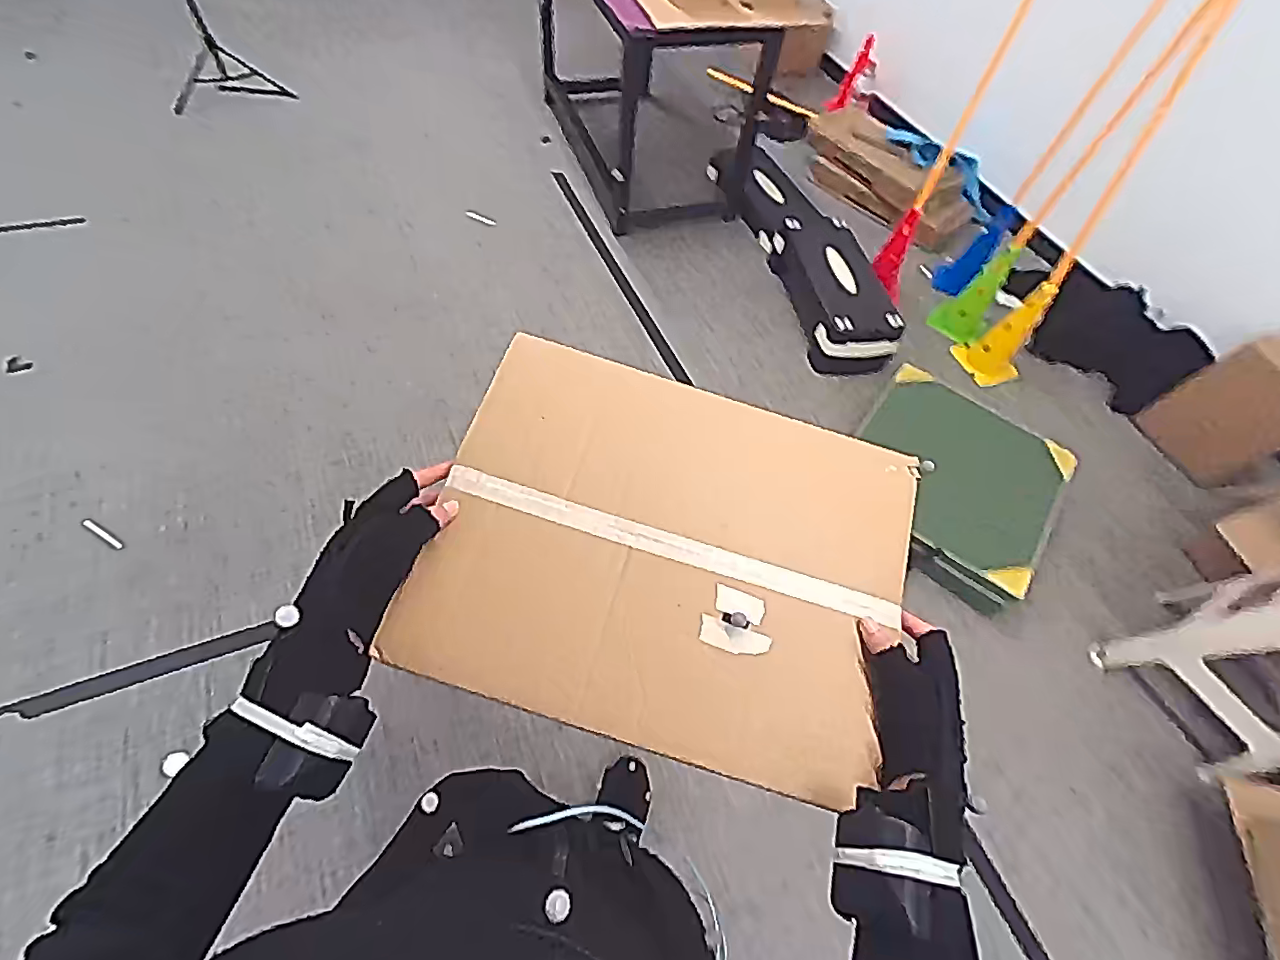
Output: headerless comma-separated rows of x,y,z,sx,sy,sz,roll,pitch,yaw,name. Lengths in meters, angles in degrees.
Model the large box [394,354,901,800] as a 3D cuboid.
0.013,0.115,0.623,0.408,0.320,0.320,18,70,0,large box
